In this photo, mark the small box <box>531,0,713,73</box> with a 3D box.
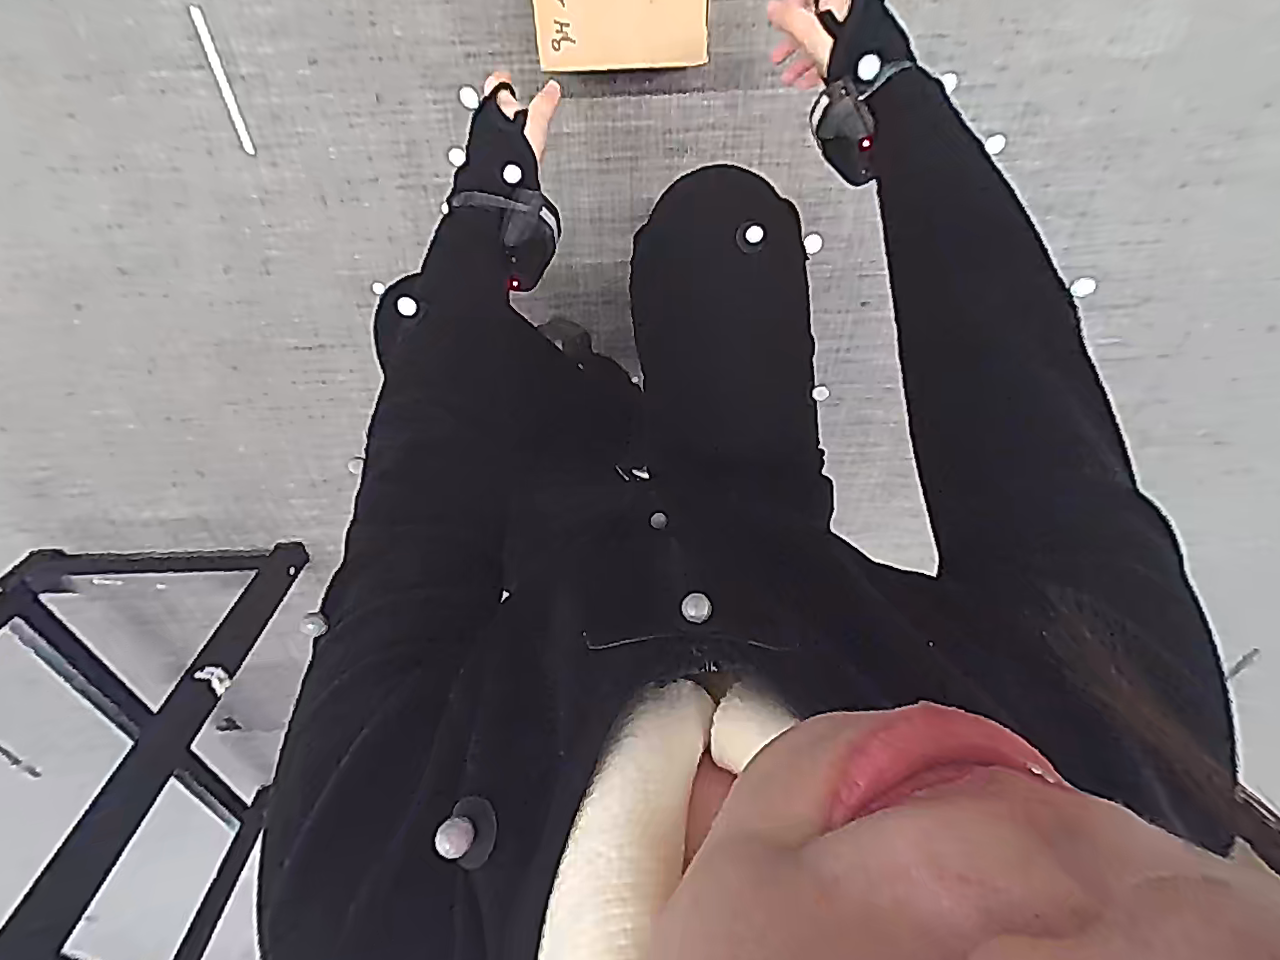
[{"bbox_3d":[-0.022,-0.528,0.562,0.179,0.176,0.168,-3,127,-2],"label":"small box"}]
